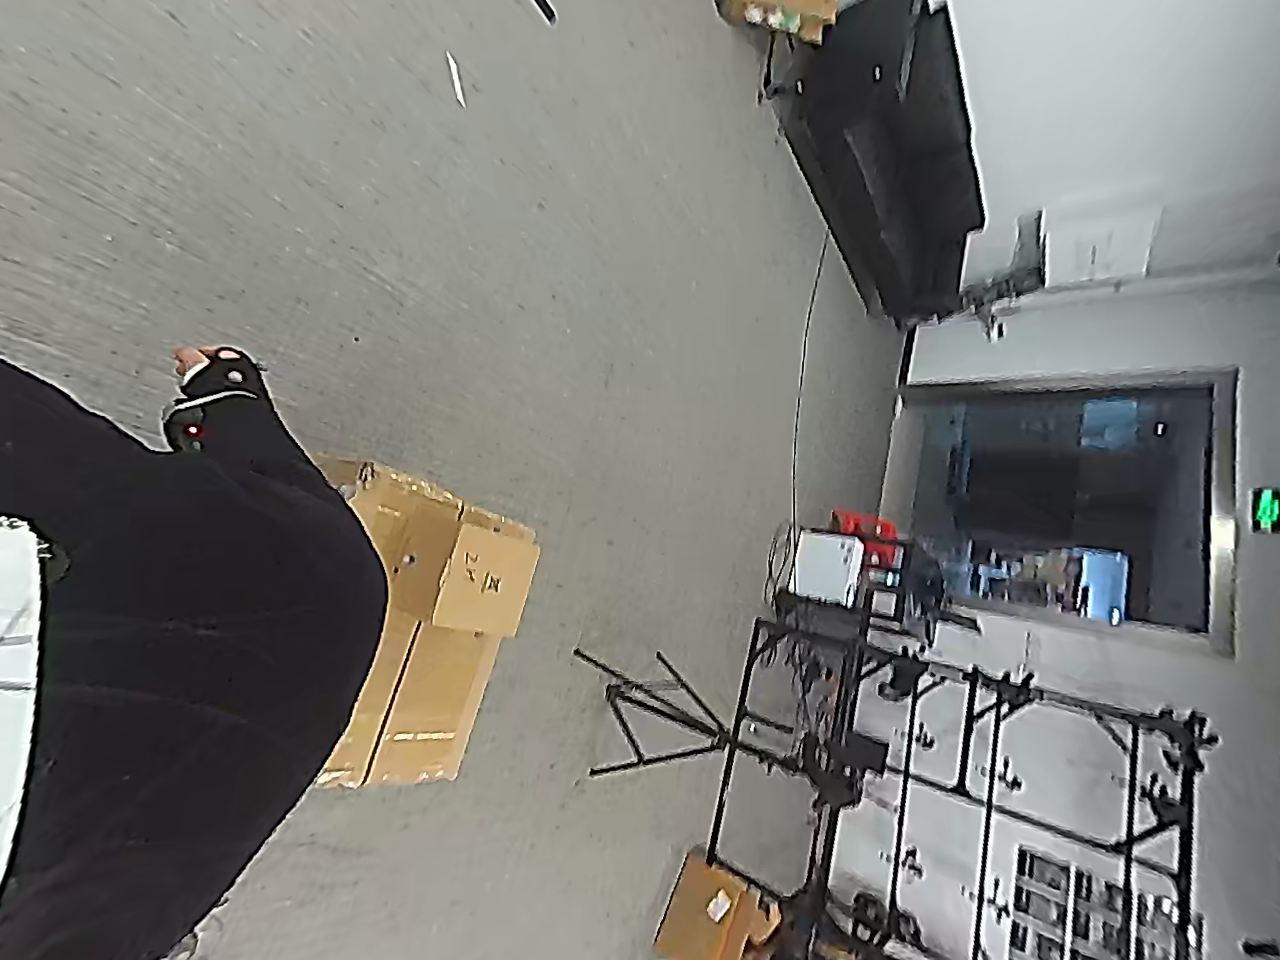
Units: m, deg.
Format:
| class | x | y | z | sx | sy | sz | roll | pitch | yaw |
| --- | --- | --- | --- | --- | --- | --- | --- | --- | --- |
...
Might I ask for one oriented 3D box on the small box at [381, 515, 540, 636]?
| class | x | y | z | sx | sy | sz | roll | pitch | yaw |
| --- | --- | --- | --- | --- | --- | --- | --- | --- | --- |
| small box | -0.315 | 0.165 | 0.953 | 0.179 | 0.176 | 0.168 | 29 | 71 | -47 |
